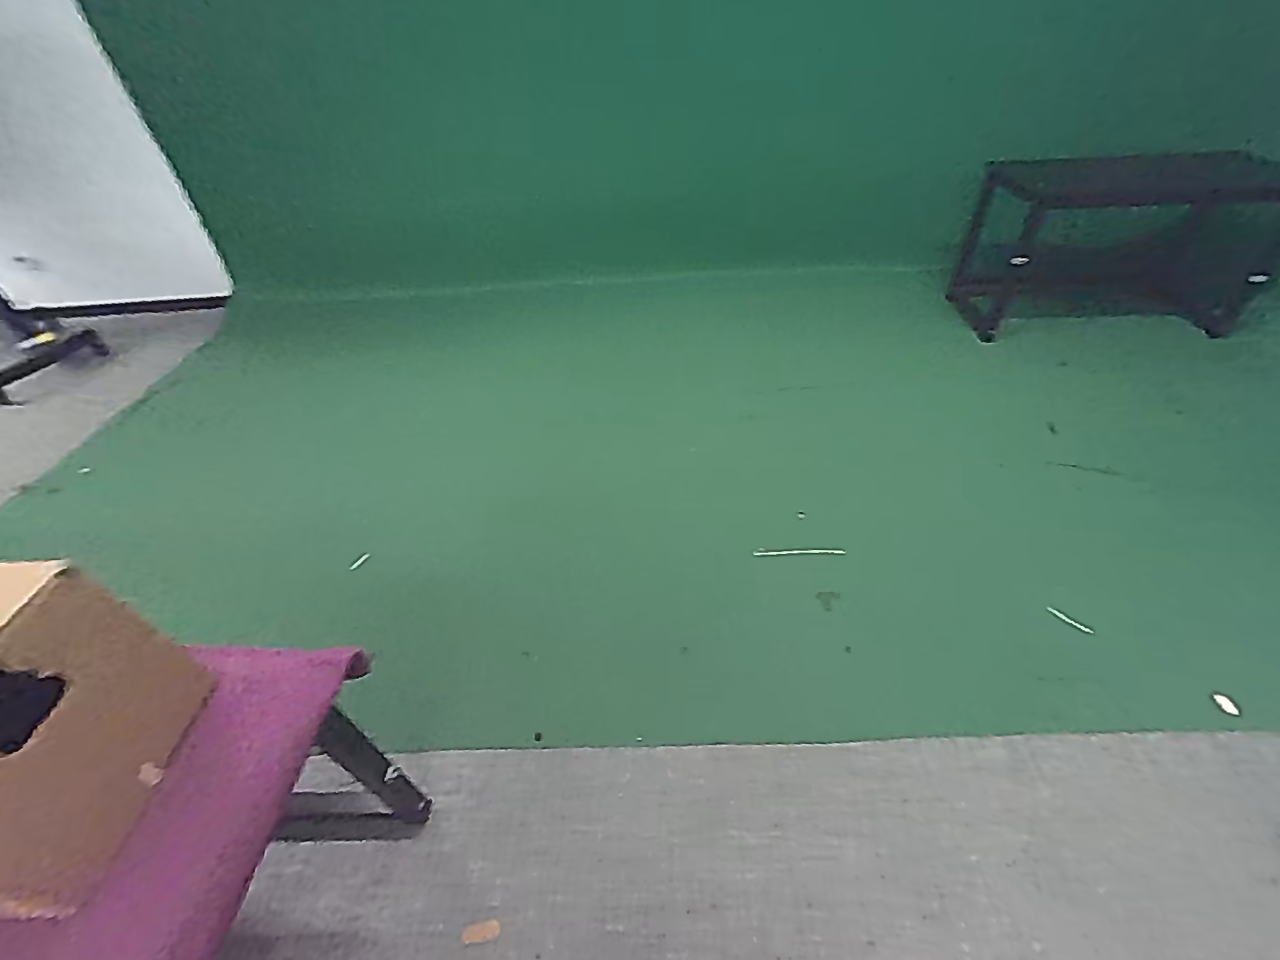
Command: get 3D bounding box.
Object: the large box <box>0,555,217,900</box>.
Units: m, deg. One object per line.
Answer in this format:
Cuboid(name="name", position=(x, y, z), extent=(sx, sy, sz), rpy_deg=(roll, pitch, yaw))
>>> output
Cuboid(name="large box", position=(-0.892, 0.314, 0.681), extent=(0.408, 0.320, 0.320), rpy_deg=(-1, 45, 2))
